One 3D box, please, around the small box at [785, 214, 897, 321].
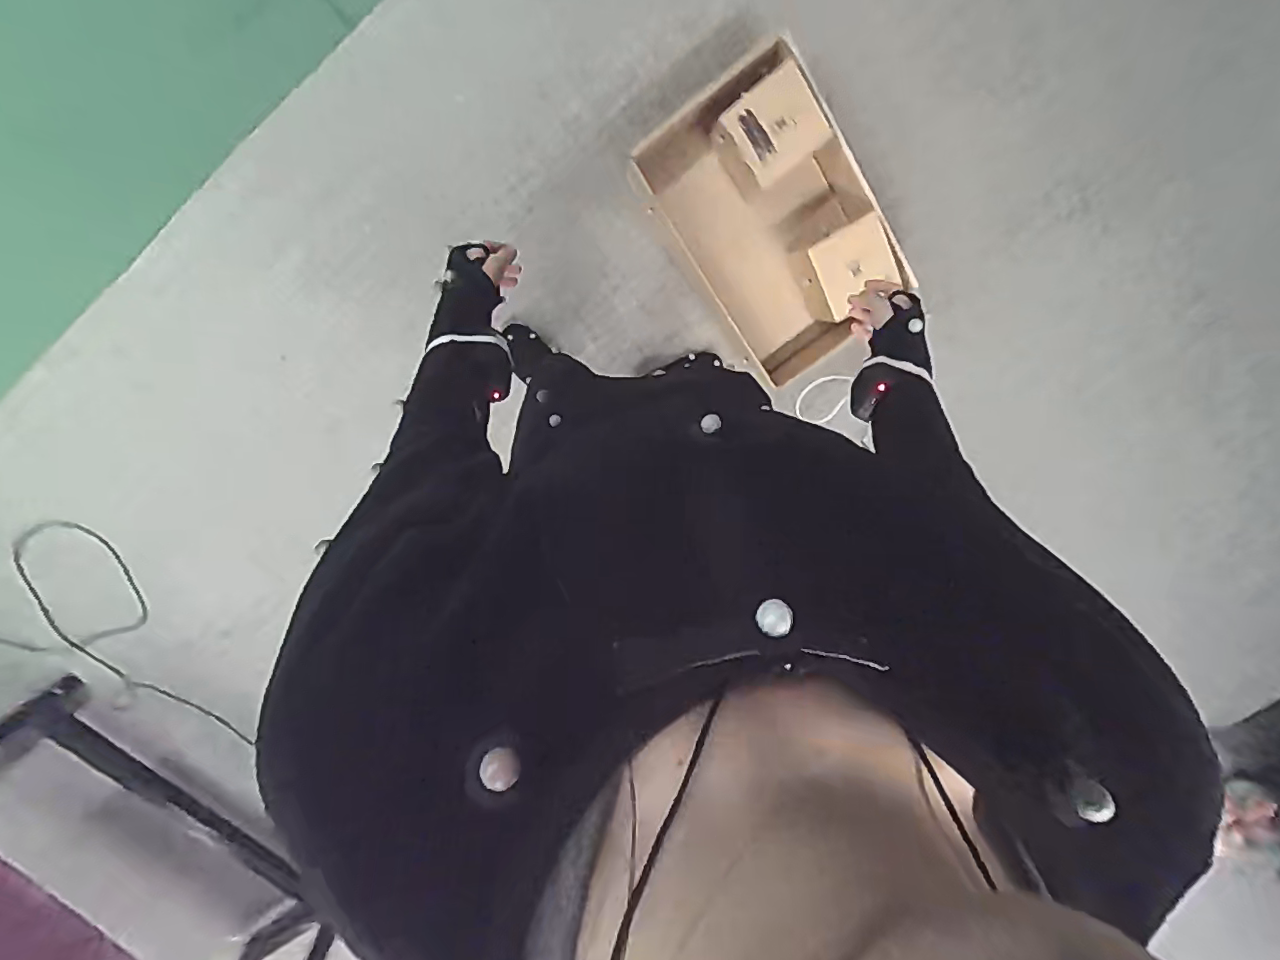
[{"bbox_3d":[0.460,-0.485,1.261,0.168,0.176,0.179,-26,107,7],"label":"small box"}]
